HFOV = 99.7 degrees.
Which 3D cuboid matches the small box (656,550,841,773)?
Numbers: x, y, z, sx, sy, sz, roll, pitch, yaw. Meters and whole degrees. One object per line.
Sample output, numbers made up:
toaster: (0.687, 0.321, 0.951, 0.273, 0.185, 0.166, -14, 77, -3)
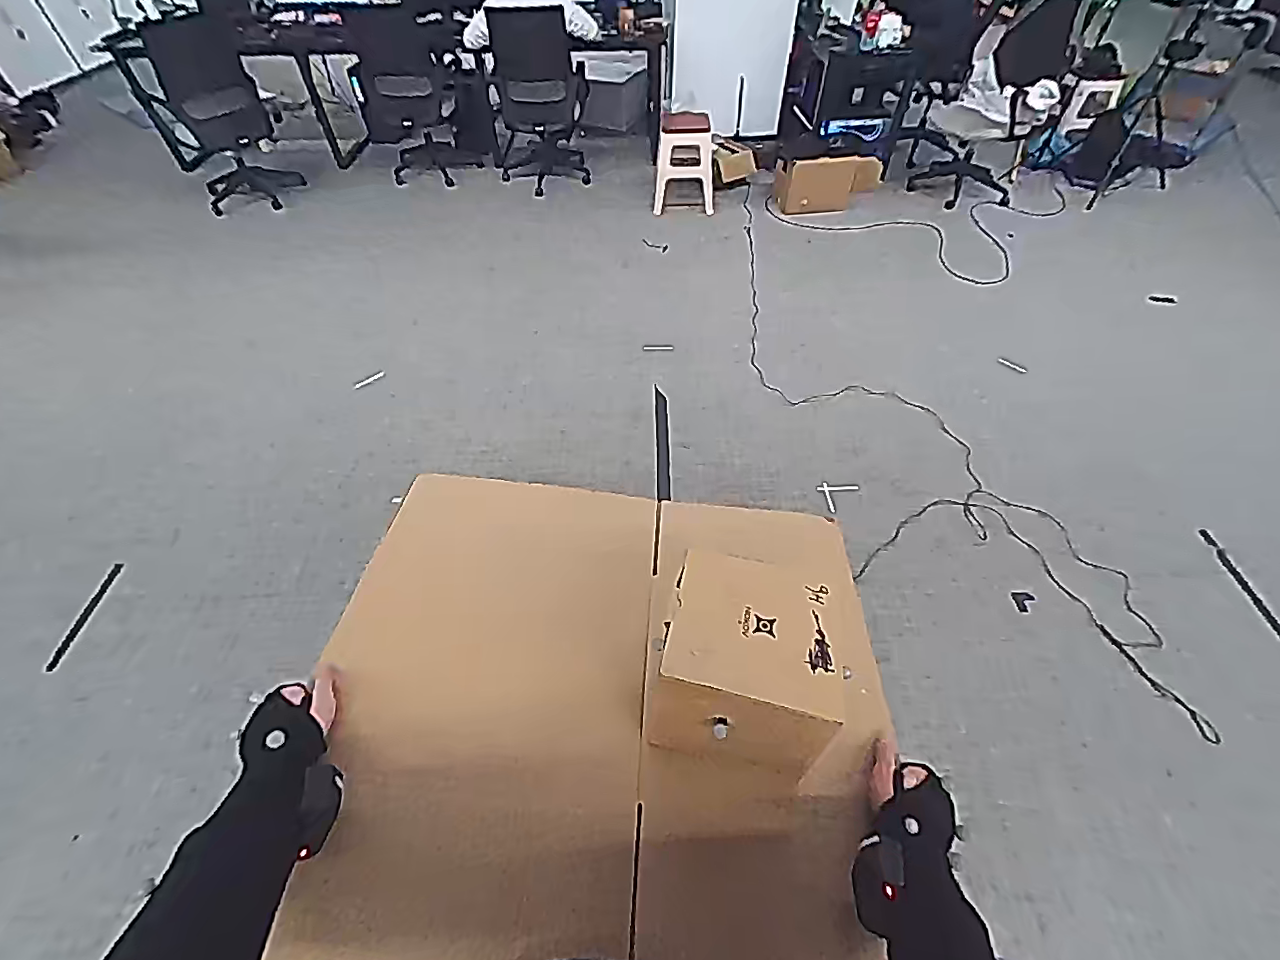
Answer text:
small box: (0.119, 0.209, 0.621, 0.179, 0.176, 0.168, 11, 44, 9)
